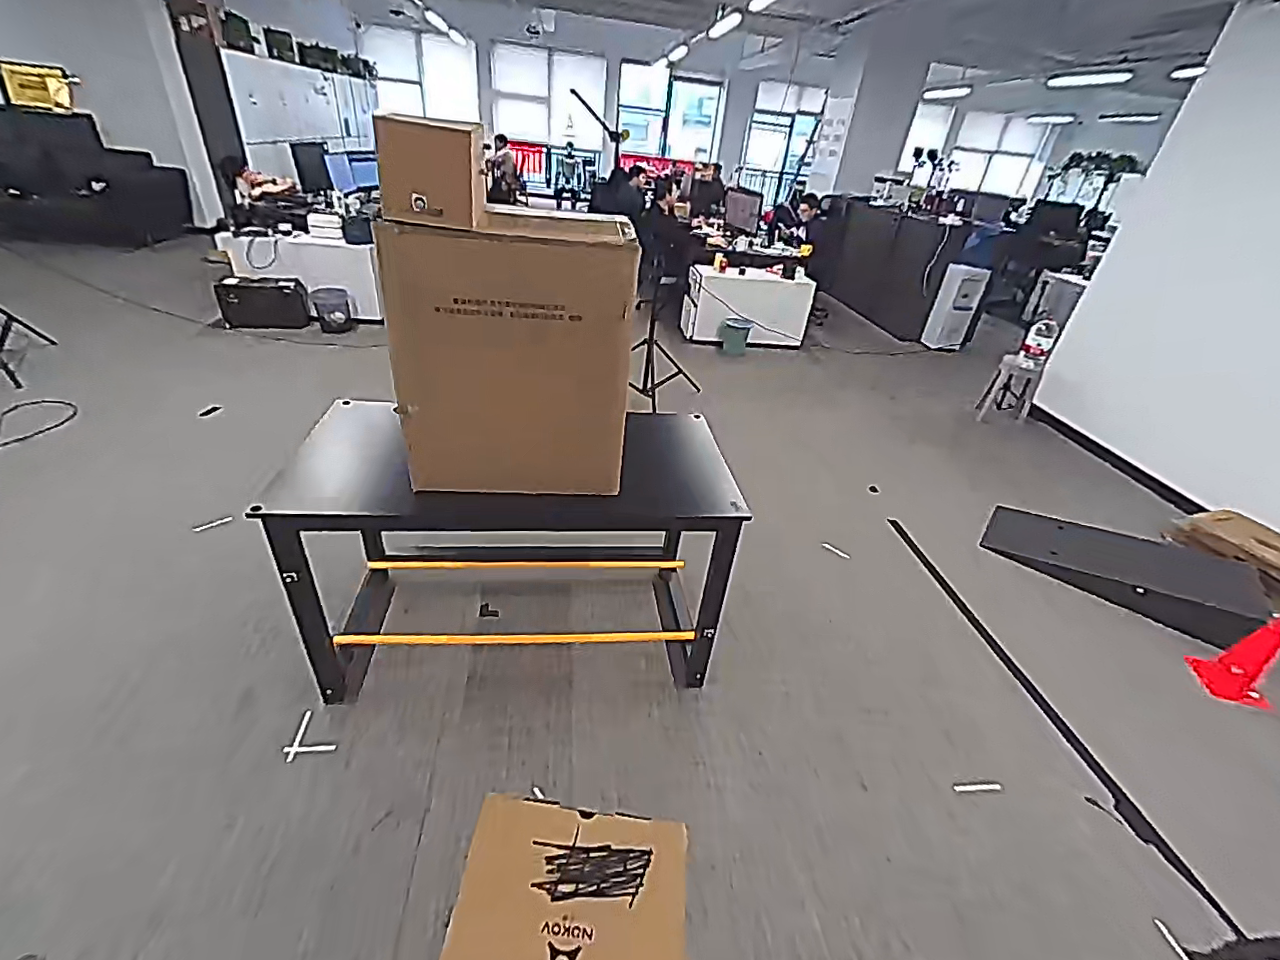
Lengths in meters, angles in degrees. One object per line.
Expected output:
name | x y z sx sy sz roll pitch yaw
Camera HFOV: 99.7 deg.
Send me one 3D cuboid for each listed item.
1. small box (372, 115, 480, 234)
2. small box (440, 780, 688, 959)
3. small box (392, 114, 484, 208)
small box | -0.401 -0.591 1.046 0.168 0.176 0.179 1 35 -12
small box | -0.061 0.370 0.427 0.168 0.176 0.179 10 43 -1
small box | -0.445 -0.710 1.220 0.168 0.176 0.179 1 31 -10
